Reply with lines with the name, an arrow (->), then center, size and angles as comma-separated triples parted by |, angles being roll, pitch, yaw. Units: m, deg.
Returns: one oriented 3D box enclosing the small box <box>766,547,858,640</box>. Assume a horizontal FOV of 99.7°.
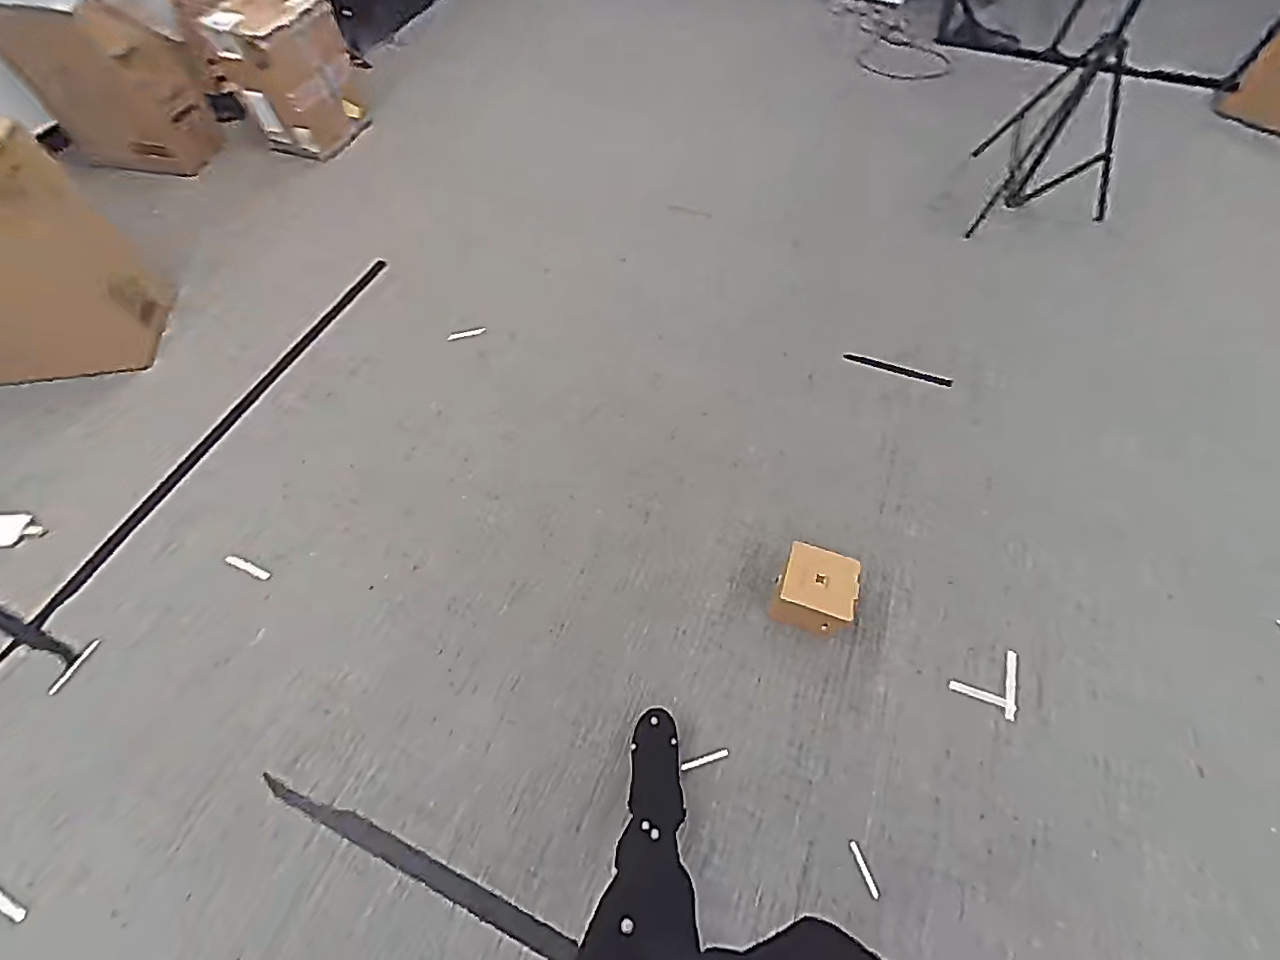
small box -> 0.442, 0.301, 1.407 | 0.179, 0.176, 0.168 | 17, 61, 11
